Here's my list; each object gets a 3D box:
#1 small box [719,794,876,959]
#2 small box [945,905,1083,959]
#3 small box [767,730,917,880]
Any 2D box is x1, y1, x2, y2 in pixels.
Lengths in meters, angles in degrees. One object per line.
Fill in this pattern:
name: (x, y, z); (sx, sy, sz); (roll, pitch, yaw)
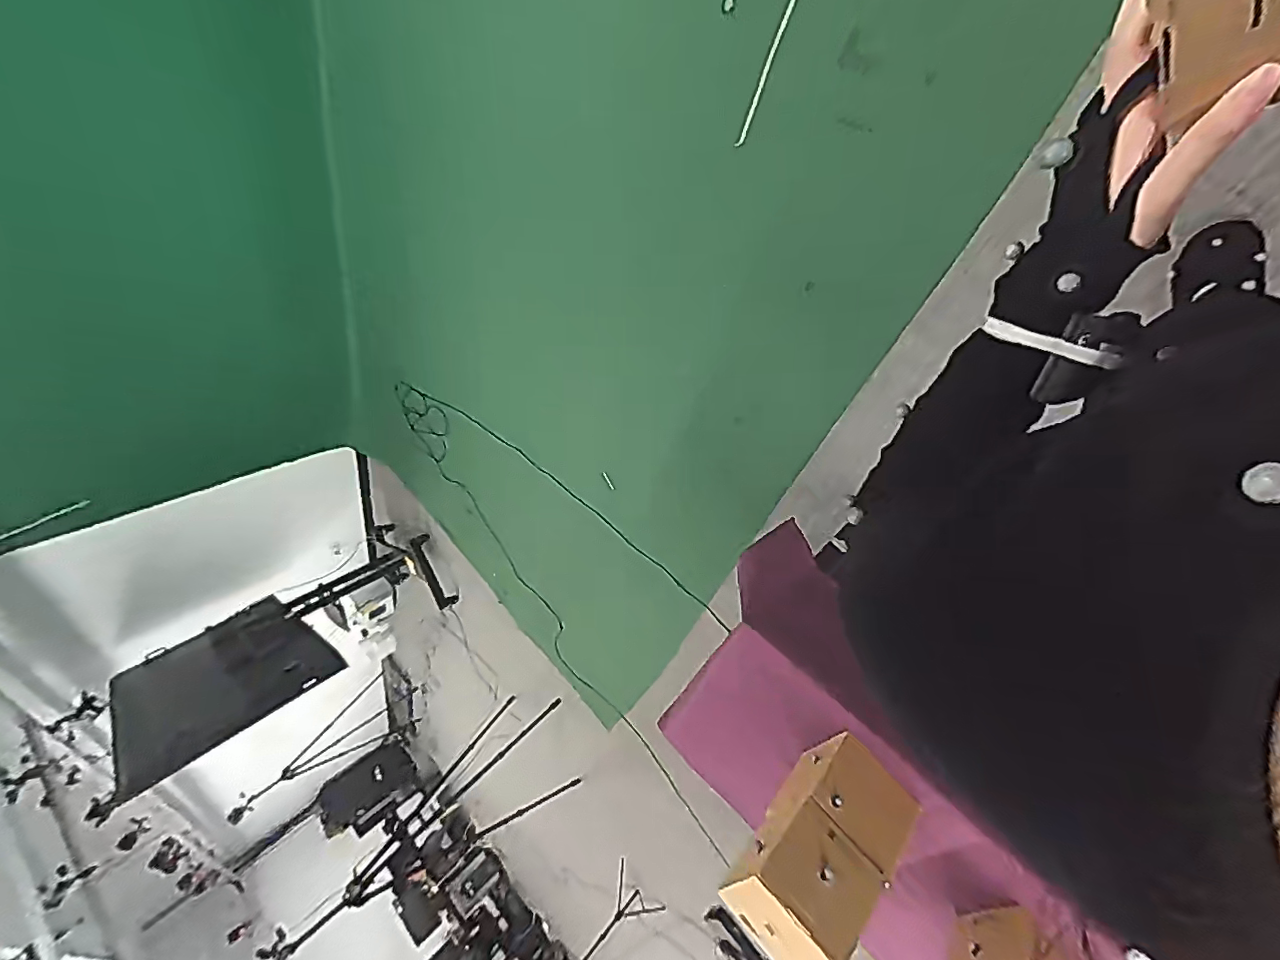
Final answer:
small box: (0.271, 0.676, 0.919); (0.168, 0.176, 0.179); (43, 137, 21)
small box: (0.633, 0.852, 0.901); (0.179, 0.176, 0.168); (42, 138, 20)
small box: (0.383, 0.615, 1.022); (0.179, 0.176, 0.168); (45, 138, 18)
